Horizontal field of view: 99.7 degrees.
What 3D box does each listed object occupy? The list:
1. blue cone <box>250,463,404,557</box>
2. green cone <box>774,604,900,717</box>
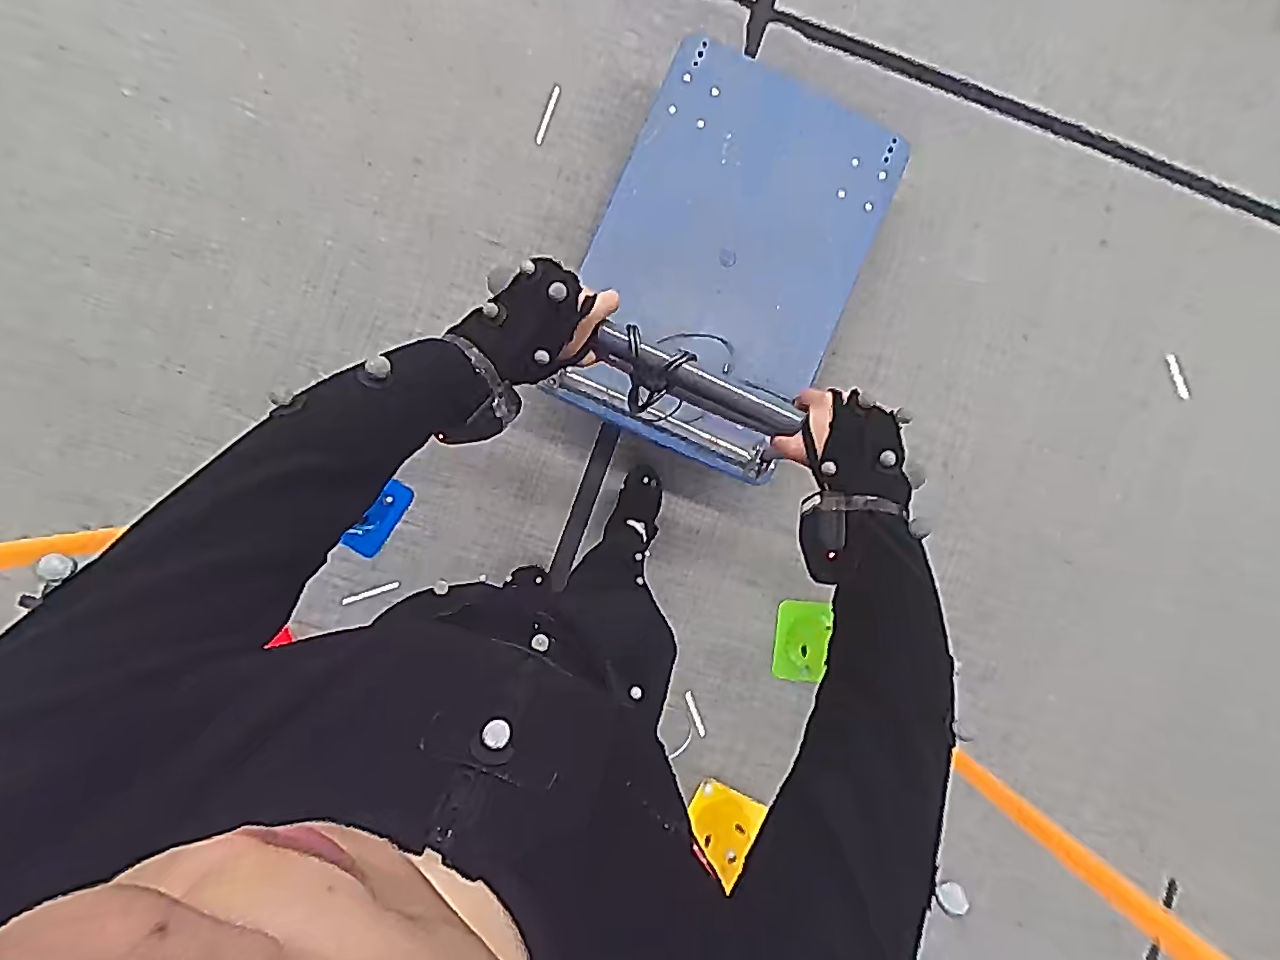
[{"bbox_3d":[-0.673,0.070,1.134,0.193,0.380,0.192,34,88,-3],"label":"blue cone"},{"bbox_3d":[0.454,0.419,1.192,0.200,0.368,0.202,6,90,-4],"label":"green cone"}]
